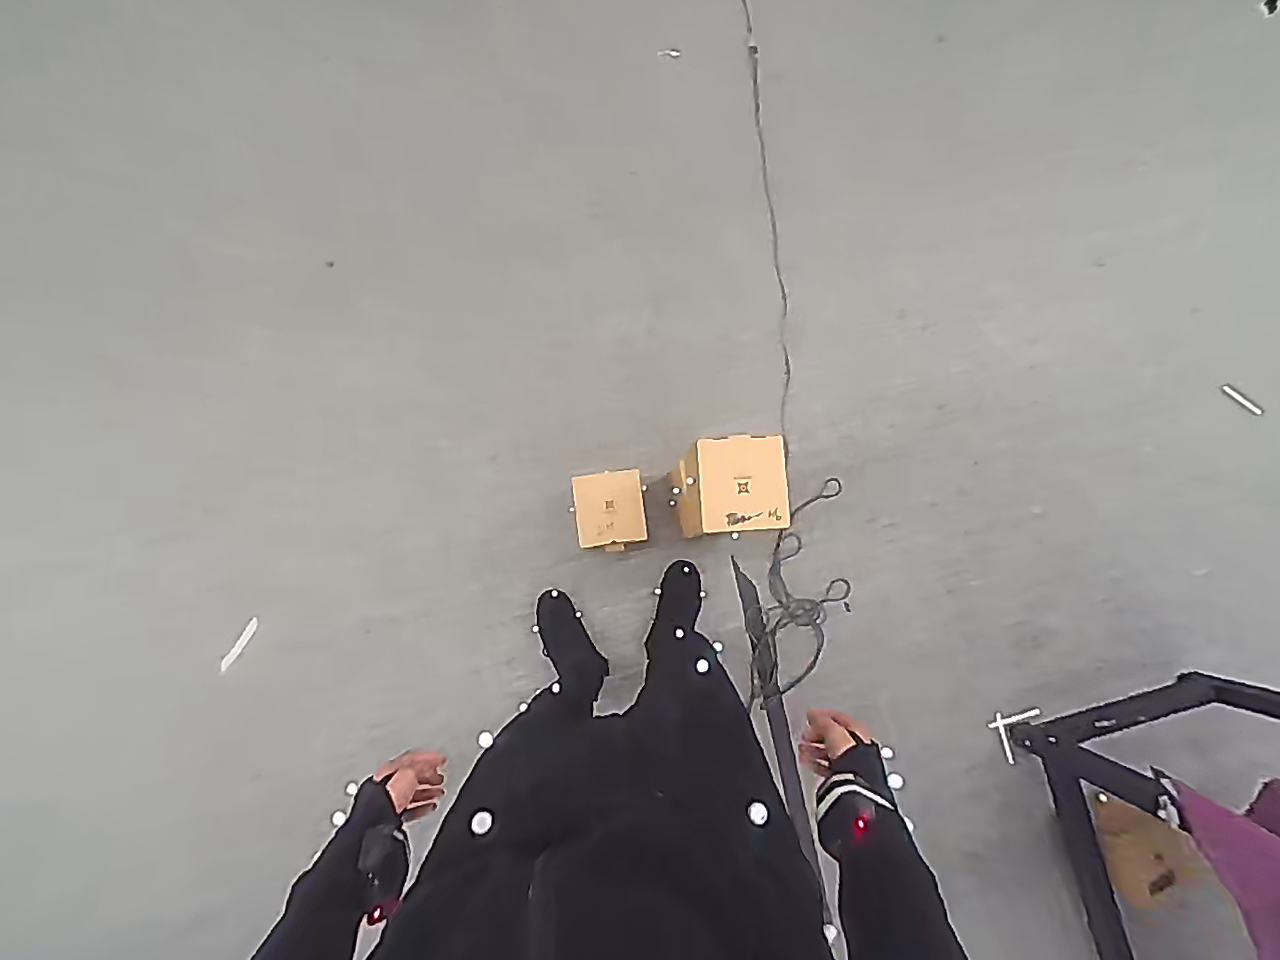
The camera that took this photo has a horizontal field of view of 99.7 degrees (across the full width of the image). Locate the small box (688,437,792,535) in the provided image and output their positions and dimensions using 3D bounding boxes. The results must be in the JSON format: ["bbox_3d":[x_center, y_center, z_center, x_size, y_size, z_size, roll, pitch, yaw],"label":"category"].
[{"bbox_3d":[0.190,0.018,1.076,0.168,0.176,0.179,-2,83,-3],"label":"small box"}]

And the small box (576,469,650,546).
[{"bbox_3d":[-0.071,0.075,1.382,0.168,0.176,0.179,-7,85,-4],"label":"small box"}]

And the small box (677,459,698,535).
[{"bbox_3d":[0.183,0.033,1.240,0.179,0.176,0.168,-10,85,-4],"label":"small box"}]

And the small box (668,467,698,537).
[{"bbox_3d":[0.174,0.049,1.401,0.168,0.176,0.179,-11,85,-4],"label":"small box"}]
